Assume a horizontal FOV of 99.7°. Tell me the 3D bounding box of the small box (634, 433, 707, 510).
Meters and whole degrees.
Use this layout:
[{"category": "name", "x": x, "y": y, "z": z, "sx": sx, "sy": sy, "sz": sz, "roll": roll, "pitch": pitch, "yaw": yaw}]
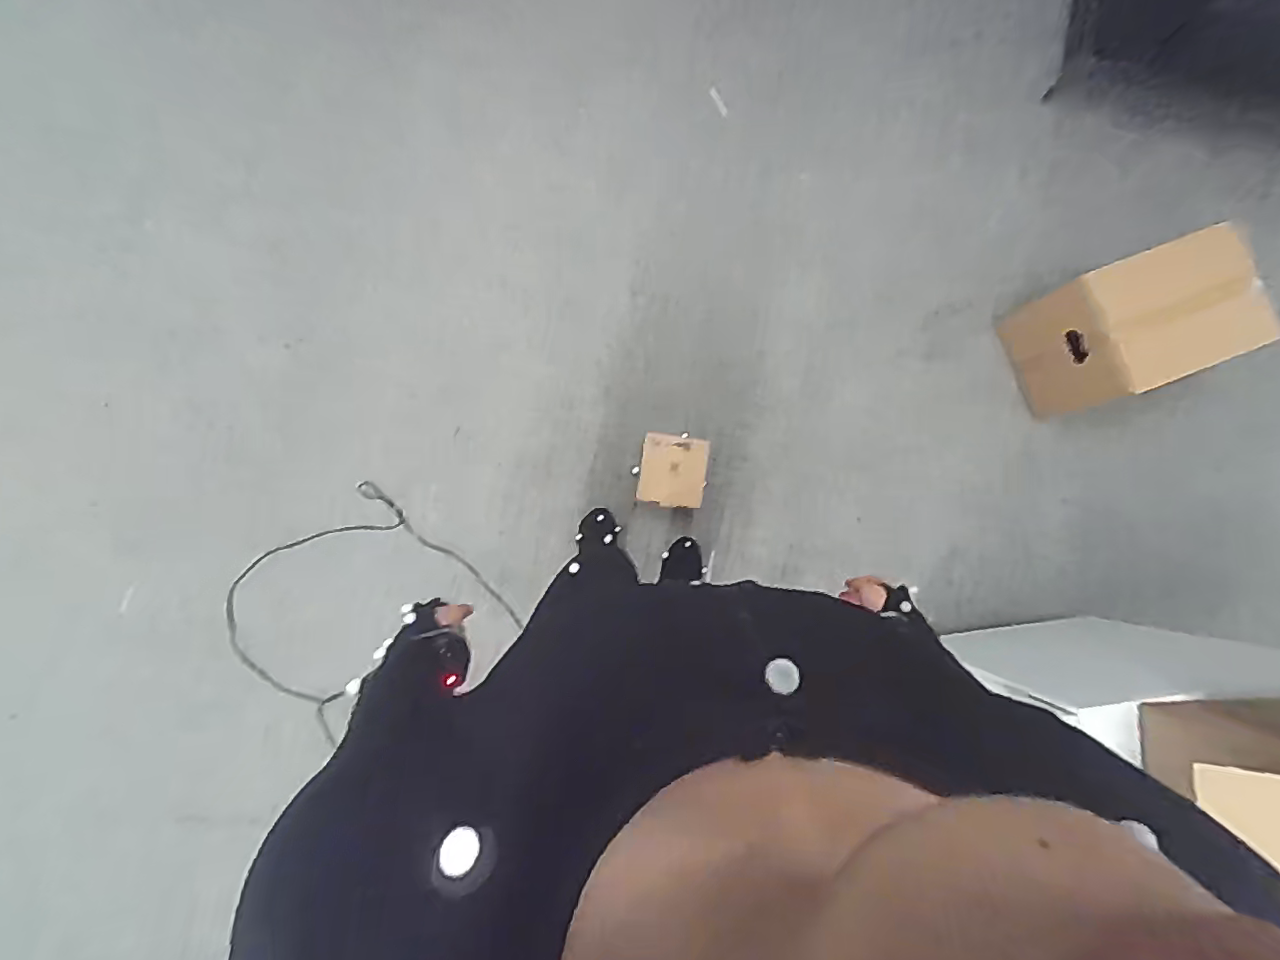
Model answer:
[{"category": "small box", "x": 0.076, "y": -0.015, "z": 1.440, "sx": 0.168, "sy": 0.176, "sz": 0.179, "roll": 9, "pitch": 85, "yaw": -2}]
